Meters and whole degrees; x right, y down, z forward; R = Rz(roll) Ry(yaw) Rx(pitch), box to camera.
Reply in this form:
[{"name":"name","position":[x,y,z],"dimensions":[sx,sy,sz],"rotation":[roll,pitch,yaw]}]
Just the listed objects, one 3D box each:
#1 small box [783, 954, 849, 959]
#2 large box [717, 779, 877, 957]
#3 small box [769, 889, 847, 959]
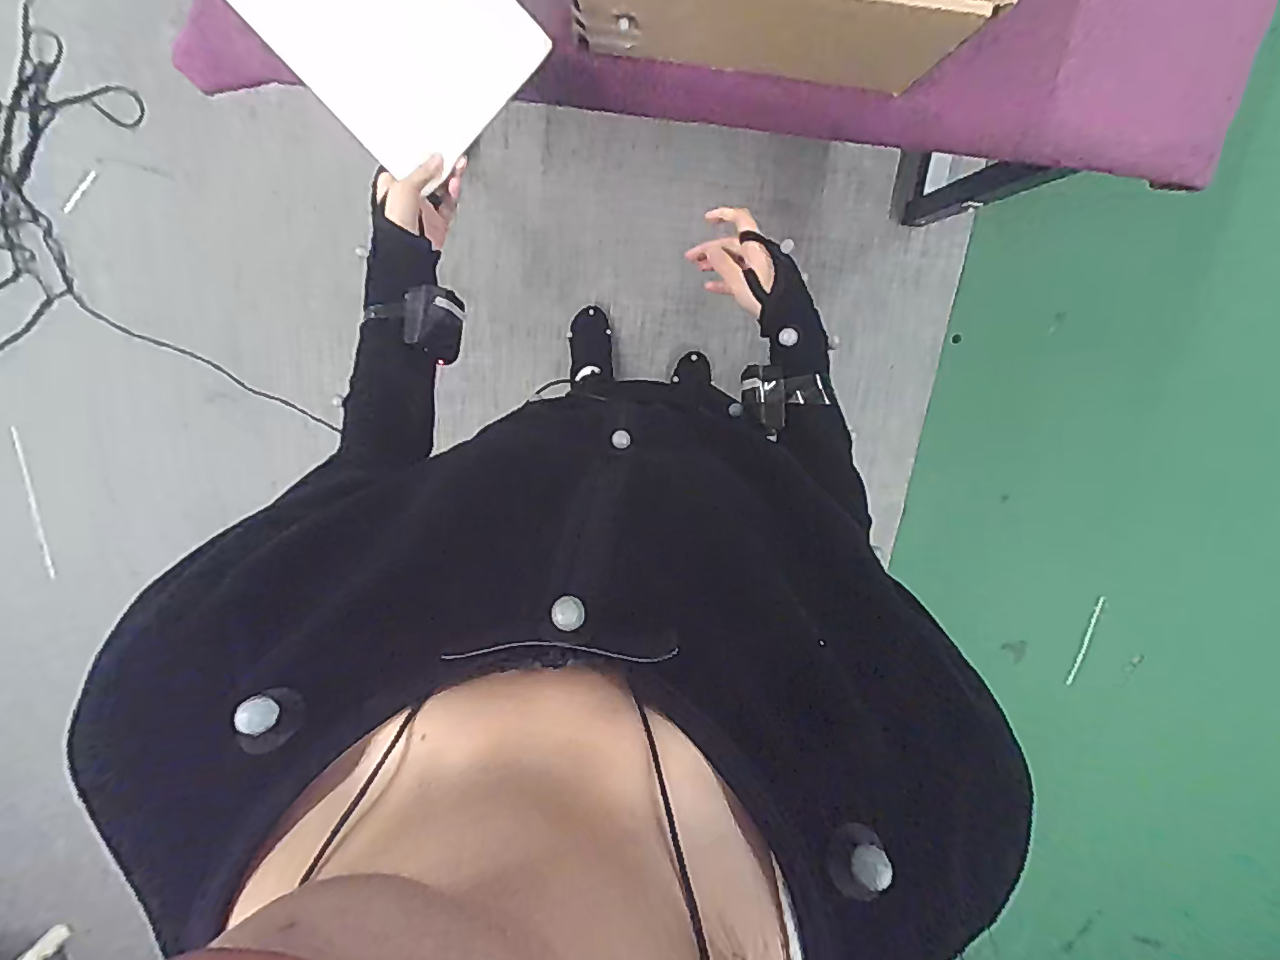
[{"name":"small box","position":[0.449,1.308,1.323],"dimensions":[0.179,0.176,0.168],"rotation":[-2,106,1]},{"name":"large box","position":[0.483,1.216,1.721],"dimensions":[0.408,0.320,0.320],"rotation":[-9,107,1]},{"name":"small box","position":[0.452,1.257,1.477],"dimensions":[0.168,0.176,0.179],"rotation":[-3,105,1]}]
